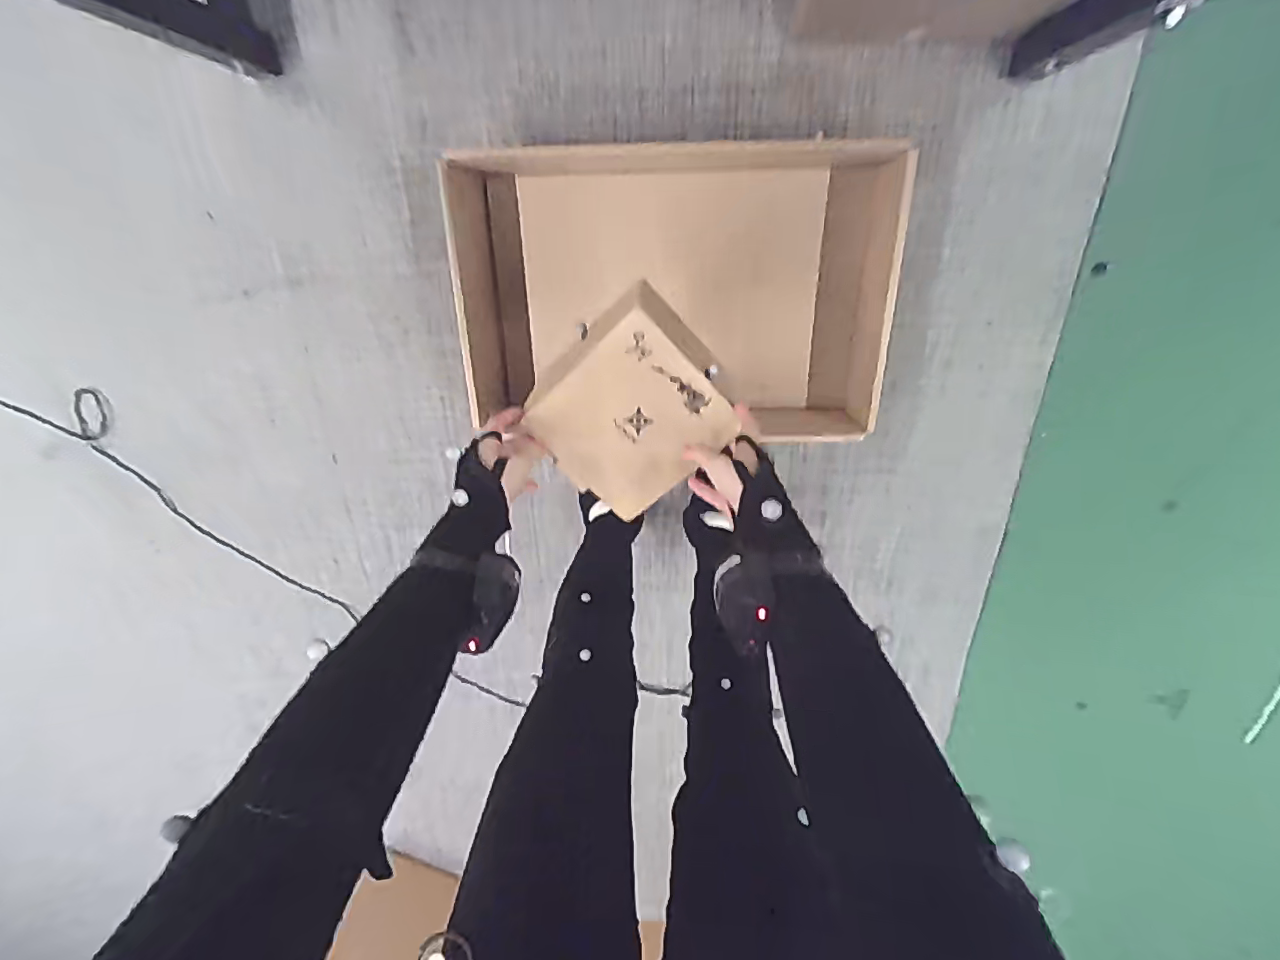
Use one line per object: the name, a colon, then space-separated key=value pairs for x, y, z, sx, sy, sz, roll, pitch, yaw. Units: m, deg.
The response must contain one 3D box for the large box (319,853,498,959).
large box: x=-0.678 y=1.358 z=1.529 sx=0.408 sy=0.320 sz=0.320 roll=29 pitch=112 yaw=-6
